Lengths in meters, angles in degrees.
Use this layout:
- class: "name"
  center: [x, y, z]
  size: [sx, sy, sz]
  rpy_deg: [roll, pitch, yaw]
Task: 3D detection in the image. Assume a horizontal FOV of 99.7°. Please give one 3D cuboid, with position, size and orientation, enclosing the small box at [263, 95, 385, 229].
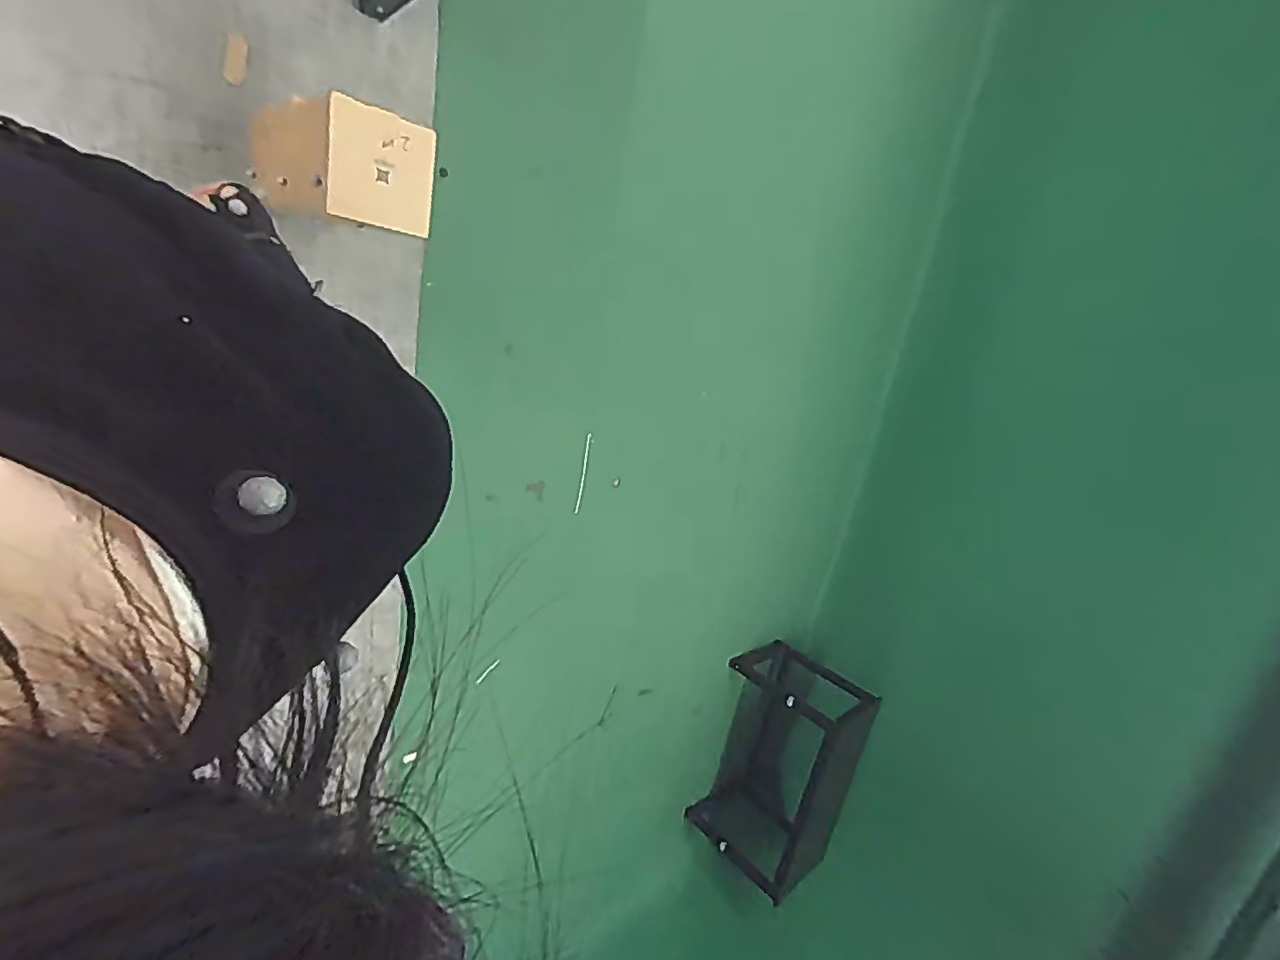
- class: "small box"
  center: [-0.607, -0.595, 1.033]
  size: [0.168, 0.176, 0.179]
  rpy_deg: [-6, 113, -45]

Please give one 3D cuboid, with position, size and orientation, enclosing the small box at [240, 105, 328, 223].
- class: "small box"
  center: [-0.721, -0.647, 1.135]
  size: [0.179, 0.176, 0.168]
  rpy_deg: [-2, 110, -46]
